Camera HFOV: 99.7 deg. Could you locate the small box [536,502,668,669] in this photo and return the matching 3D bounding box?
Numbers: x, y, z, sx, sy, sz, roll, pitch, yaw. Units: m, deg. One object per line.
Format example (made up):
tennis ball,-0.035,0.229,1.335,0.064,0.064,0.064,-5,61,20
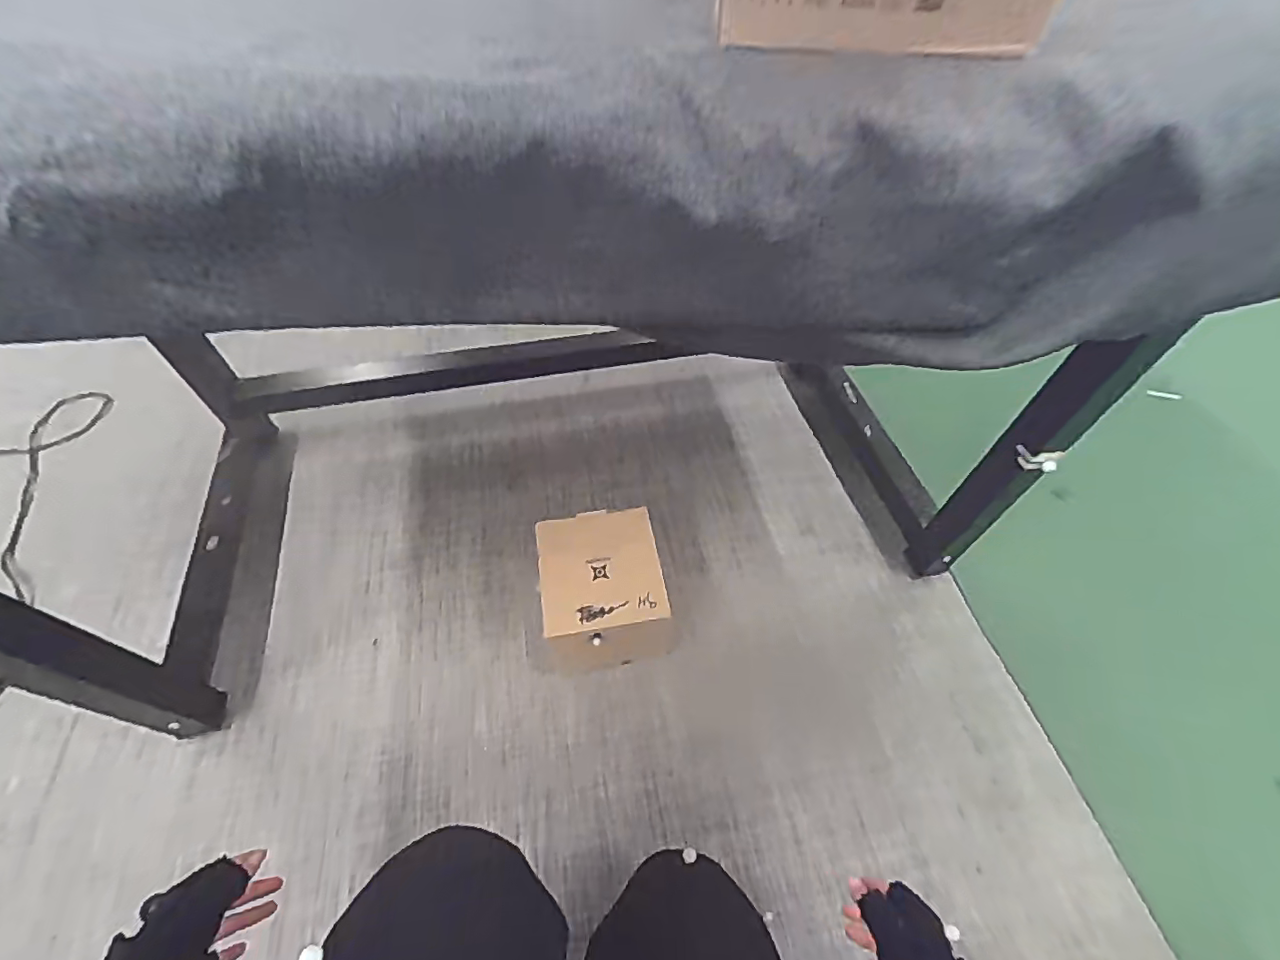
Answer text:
small box,-0.059,0.158,0.806,0.168,0.176,0.179,-8,53,-6
